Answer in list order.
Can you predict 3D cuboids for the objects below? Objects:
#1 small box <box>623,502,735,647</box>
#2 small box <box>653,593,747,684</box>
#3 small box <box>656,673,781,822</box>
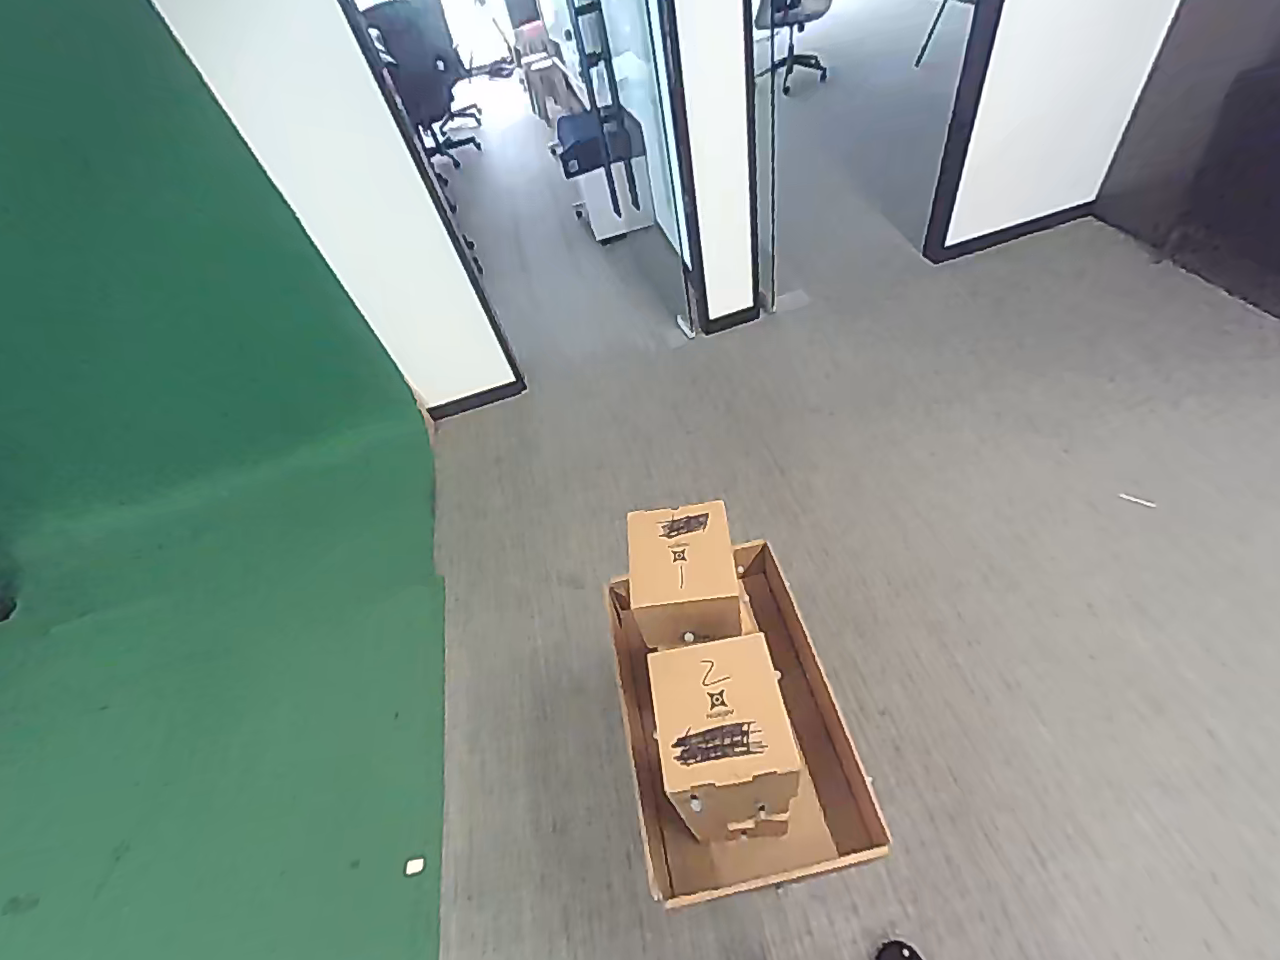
[{"bbox_3d":[0.066,0.163,0.917,0.168,0.176,0.179,-8,52,6],"label":"small box"},{"bbox_3d":[0.100,0.266,1.040,0.168,0.176,0.179,-15,51,0],"label":"small box"},{"bbox_3d":[0.127,0.442,0.883,0.168,0.176,0.179,-11,48,3],"label":"small box"}]
